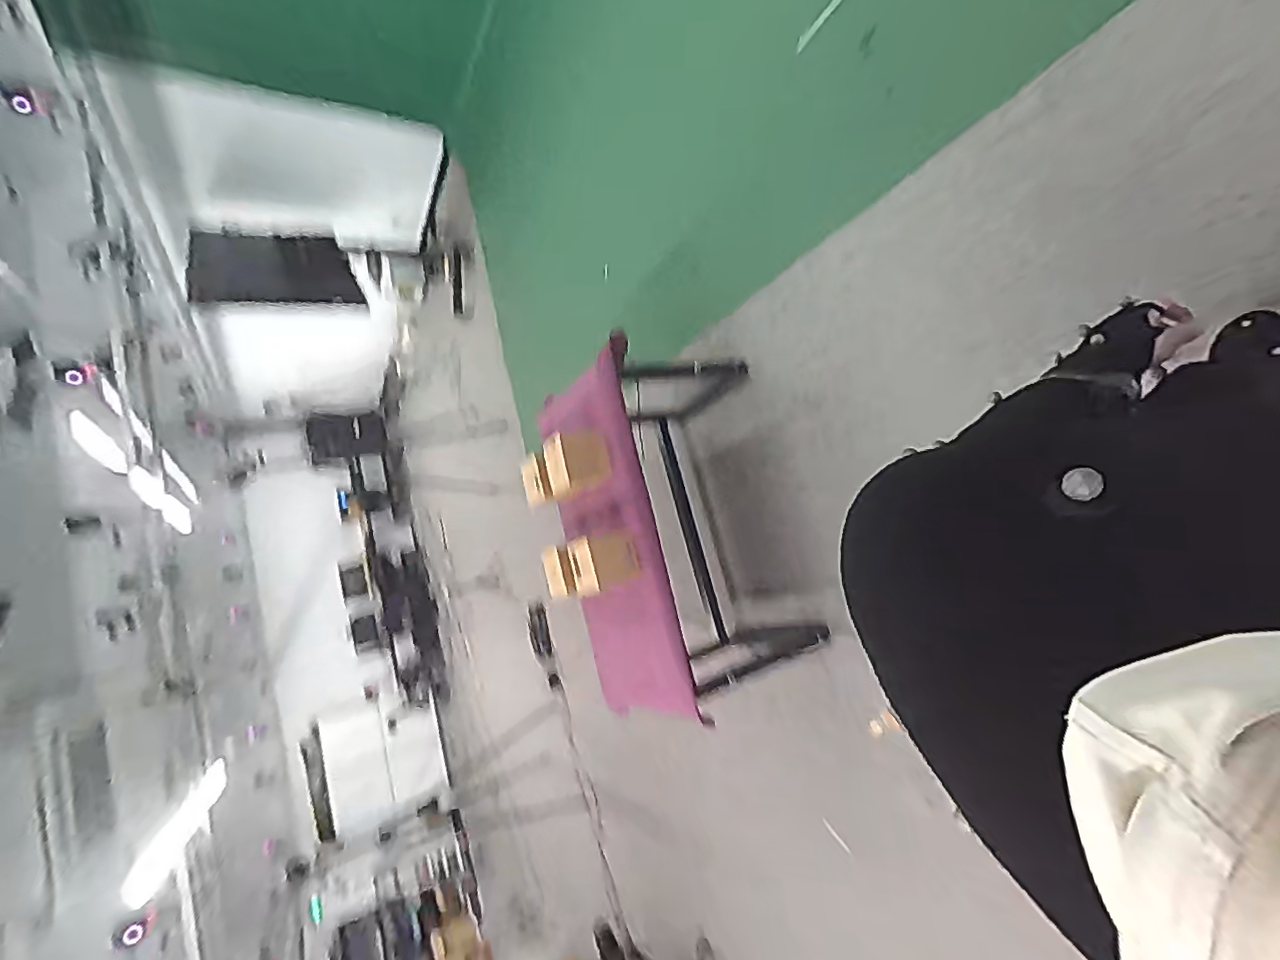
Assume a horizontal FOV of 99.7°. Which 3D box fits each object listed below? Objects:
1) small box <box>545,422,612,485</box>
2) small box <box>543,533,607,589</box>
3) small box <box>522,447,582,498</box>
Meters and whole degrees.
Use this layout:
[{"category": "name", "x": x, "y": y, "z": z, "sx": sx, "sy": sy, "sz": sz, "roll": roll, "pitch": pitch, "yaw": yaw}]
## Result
[{"category": "small box", "x": -0.214, "y": -0.092, "z": 1.904, "sx": 0.168, "sy": 0.176, "sz": 0.179, "roll": -22, "pitch": 81, "yaw": 58}, {"category": "small box", "x": -0.248, "y": 0.308, "z": 2.070, "sx": 0.168, "sy": 0.176, "sz": 0.179, "roll": -28, "pitch": 75, "yaw": 57}, {"category": "small box", "x": -0.339, "y": -0.037, "z": 2.115, "sx": 0.179, "sy": 0.176, "sz": 0.168, "roll": -25, "pitch": 77, "yaw": 57}]
